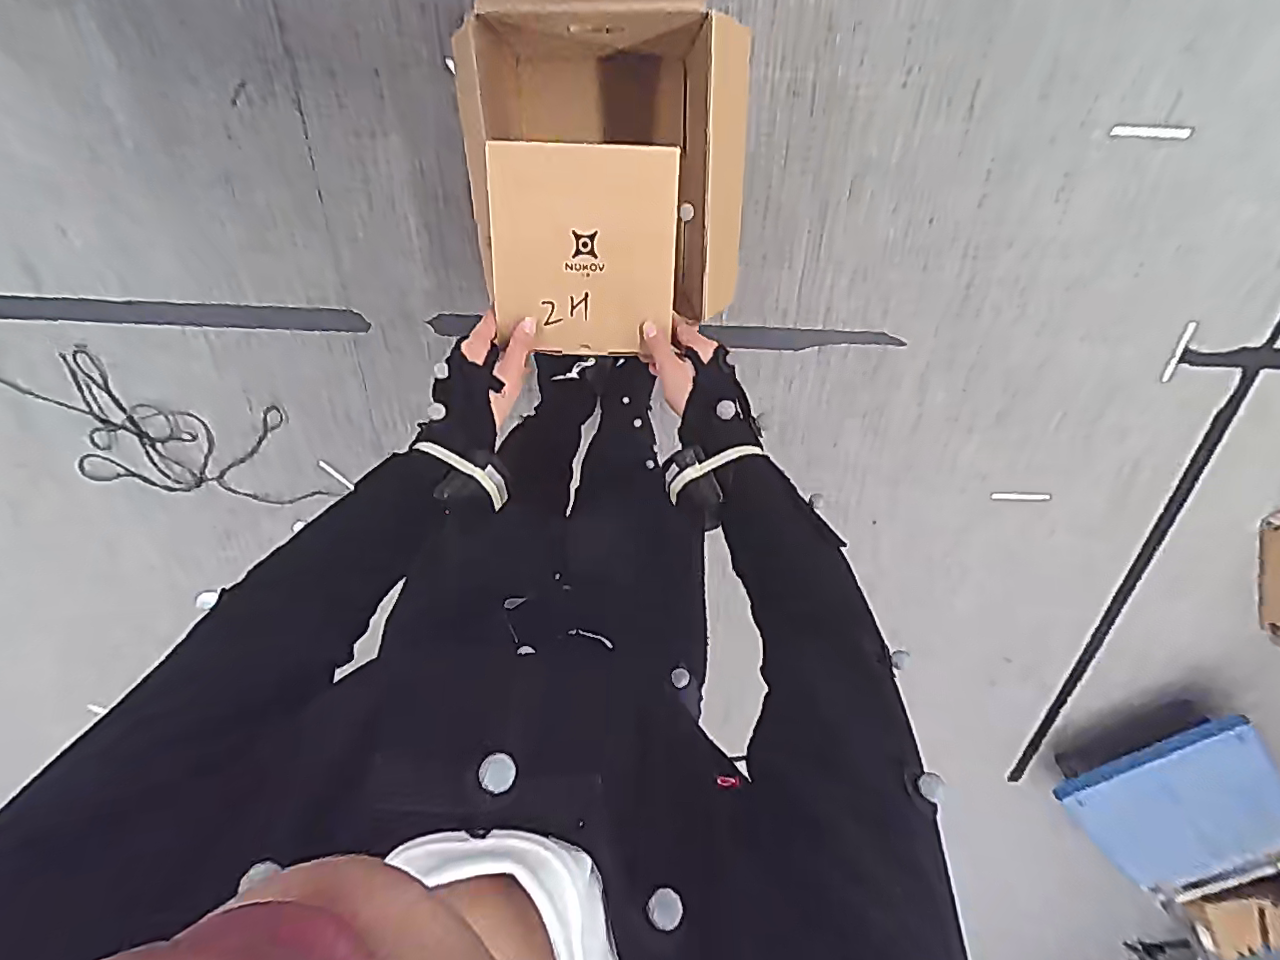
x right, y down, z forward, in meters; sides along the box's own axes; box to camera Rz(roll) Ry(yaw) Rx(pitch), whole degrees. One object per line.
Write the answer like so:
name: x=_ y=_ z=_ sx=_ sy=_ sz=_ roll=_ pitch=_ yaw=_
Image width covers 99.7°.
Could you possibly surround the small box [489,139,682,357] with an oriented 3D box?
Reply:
small box: x=-0.050 y=-0.227 z=0.554 sx=0.168 sy=0.176 sz=0.179 roll=2 pitch=111 yaw=0
